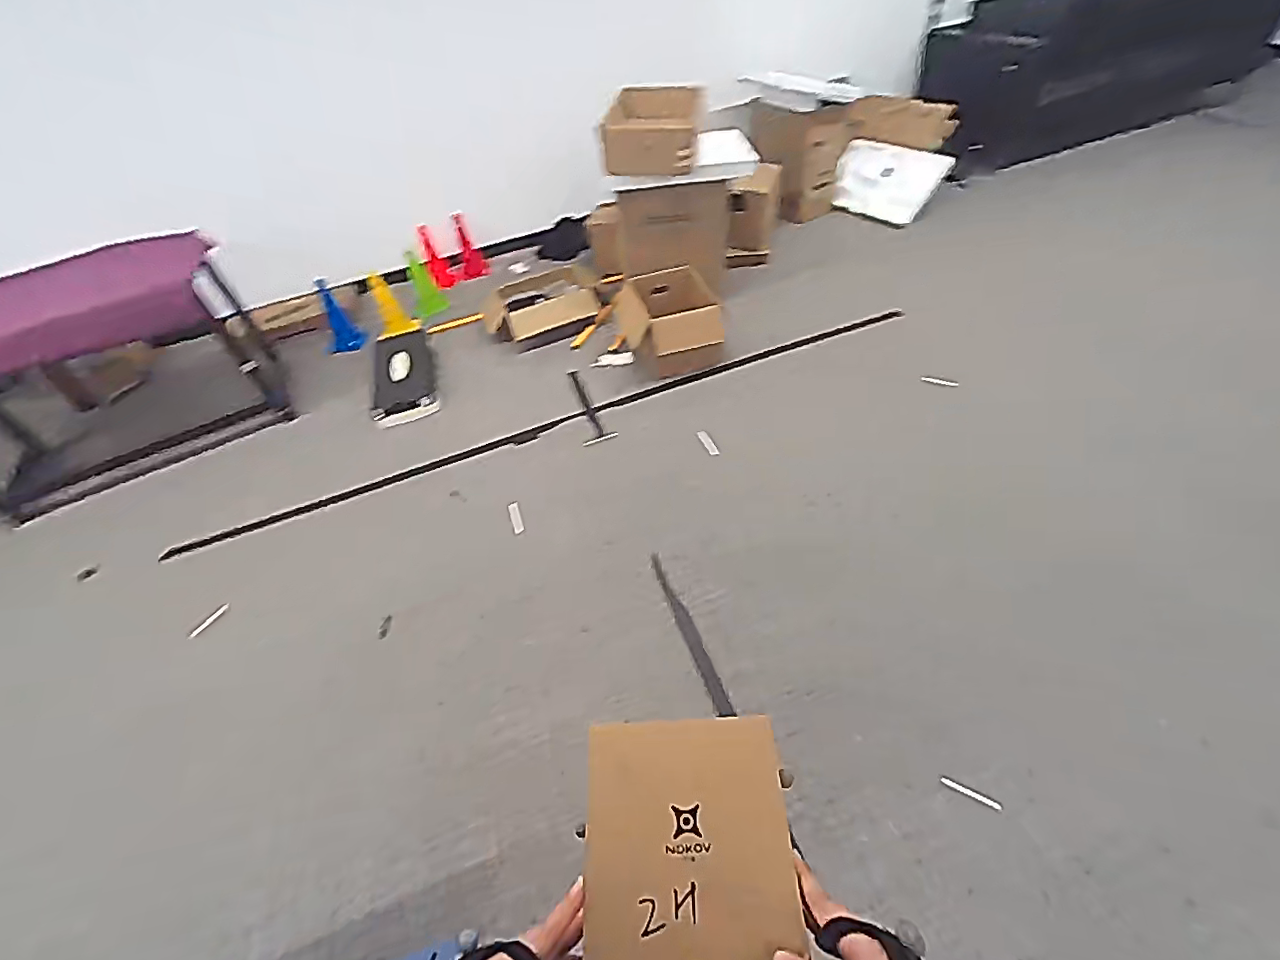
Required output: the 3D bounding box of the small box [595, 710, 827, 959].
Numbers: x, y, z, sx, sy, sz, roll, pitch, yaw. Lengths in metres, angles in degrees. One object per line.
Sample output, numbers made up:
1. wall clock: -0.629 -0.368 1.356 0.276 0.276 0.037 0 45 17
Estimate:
1. small box: 0.055 0.326 0.491 0.168 0.176 0.179 -4 51 4
